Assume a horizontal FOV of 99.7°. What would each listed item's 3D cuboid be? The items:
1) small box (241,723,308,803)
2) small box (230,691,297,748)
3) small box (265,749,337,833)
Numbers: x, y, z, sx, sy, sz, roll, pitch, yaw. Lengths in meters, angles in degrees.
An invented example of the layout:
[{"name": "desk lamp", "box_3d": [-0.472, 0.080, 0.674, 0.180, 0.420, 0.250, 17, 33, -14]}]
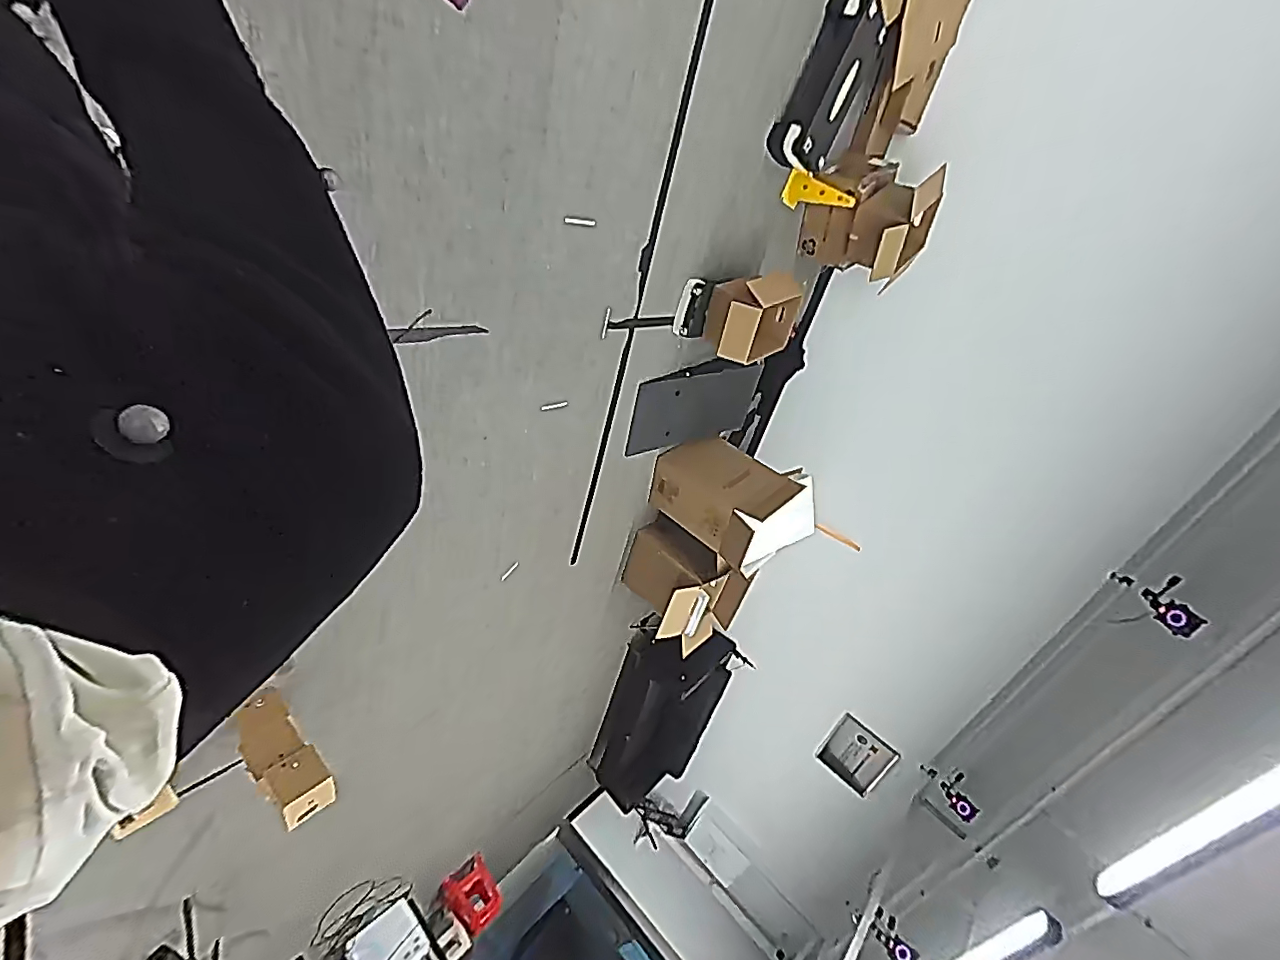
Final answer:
[{"name": "small box", "box_3d": [-1.366, 1.063, 2.045, 0.179, 0.176, 0.168, -27, 142, -42]}, {"name": "small box", "box_3d": [-1.475, 0.972, 2.127, 0.168, 0.176, 0.179, -26, 141, -43]}, {"name": "small box", "box_3d": [-1.231, 1.124, 1.967, 0.168, 0.176, 0.179, -25, 140, -46]}]
